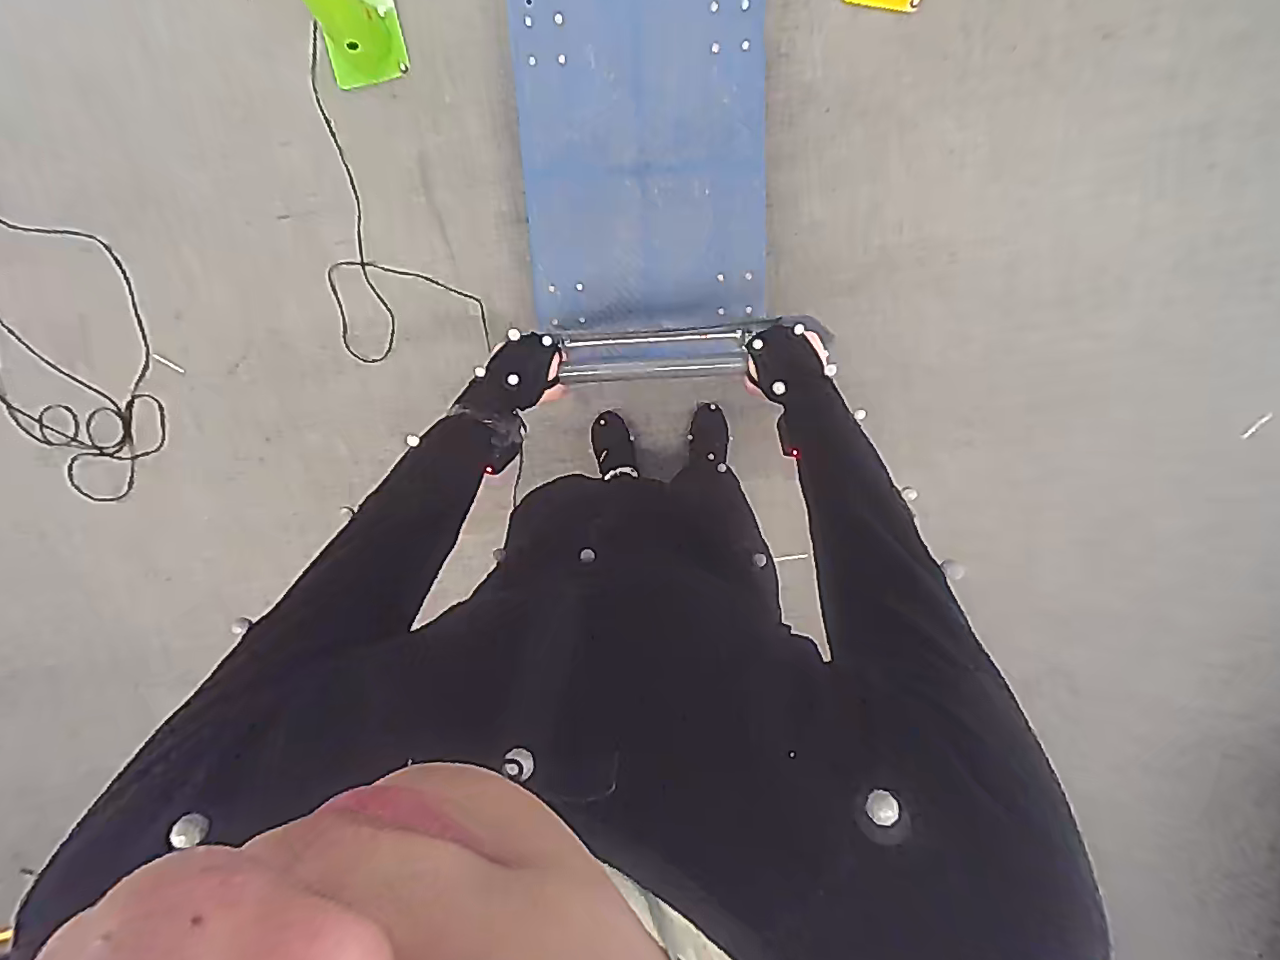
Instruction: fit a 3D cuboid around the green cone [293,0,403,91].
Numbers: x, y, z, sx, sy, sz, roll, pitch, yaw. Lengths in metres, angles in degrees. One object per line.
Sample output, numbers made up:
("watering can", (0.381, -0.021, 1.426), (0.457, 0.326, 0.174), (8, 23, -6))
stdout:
("green cone", (-0.729, -1.086, 1.213), (0.202, 0.368, 0.200), (-11, 102, 5))
